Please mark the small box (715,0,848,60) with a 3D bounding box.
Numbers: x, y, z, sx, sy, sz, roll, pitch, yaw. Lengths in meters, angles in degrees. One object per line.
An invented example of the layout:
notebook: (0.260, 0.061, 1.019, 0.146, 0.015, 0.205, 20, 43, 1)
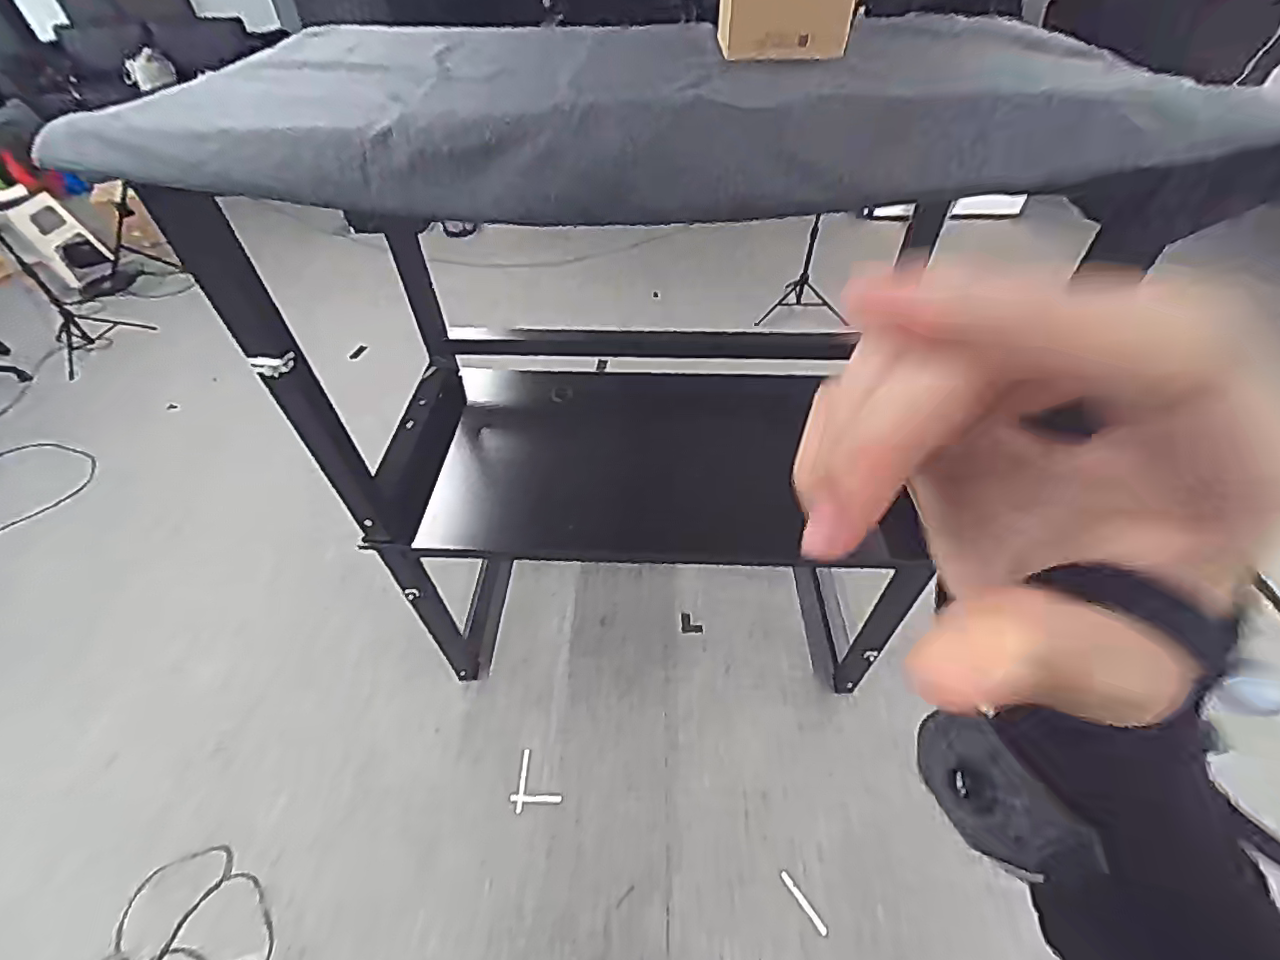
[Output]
small box: (0.199, -0.715, 0.763, 0.168, 0.176, 0.179, 0, 47, 2)
